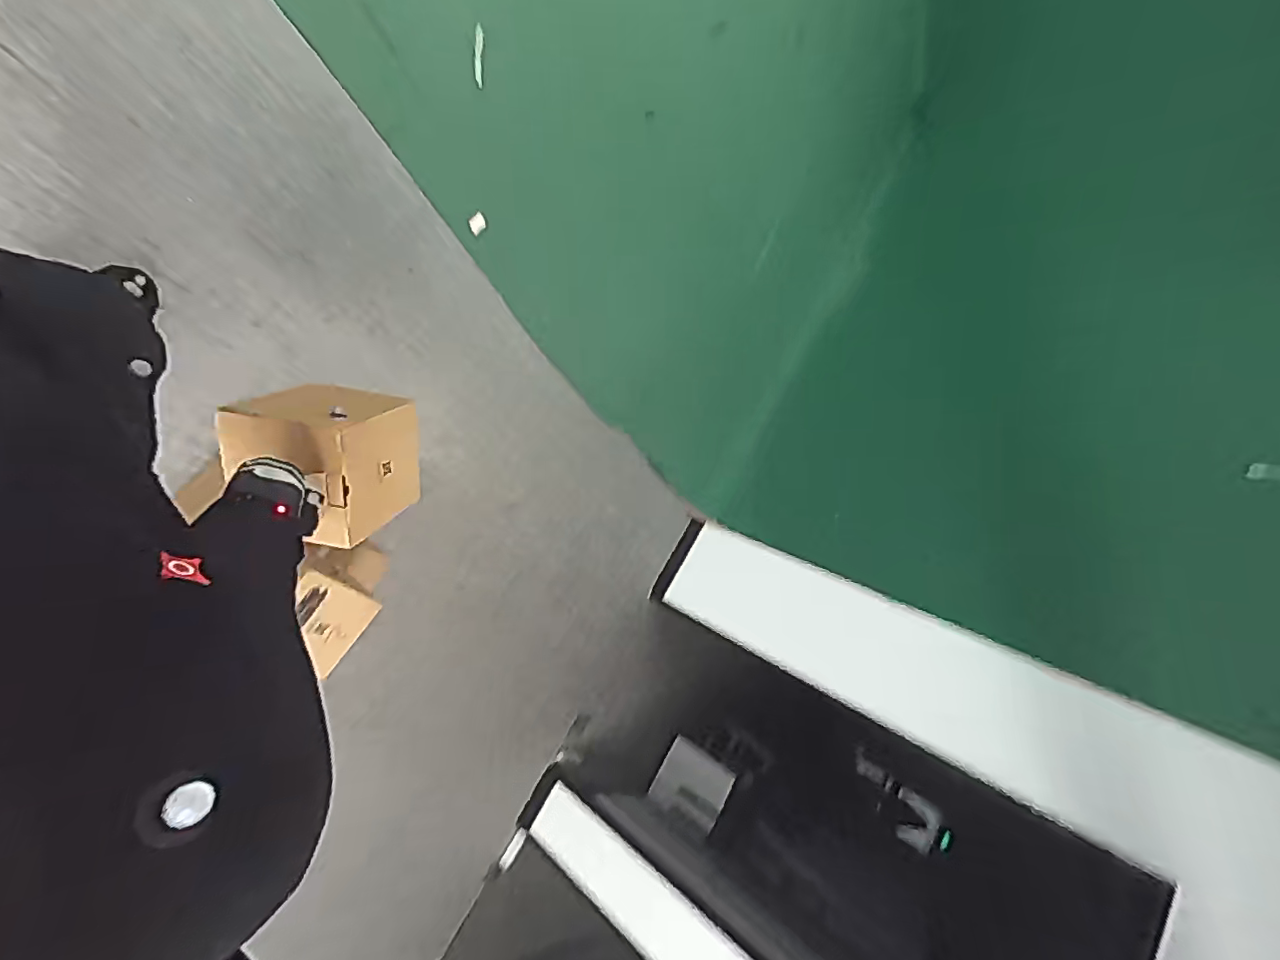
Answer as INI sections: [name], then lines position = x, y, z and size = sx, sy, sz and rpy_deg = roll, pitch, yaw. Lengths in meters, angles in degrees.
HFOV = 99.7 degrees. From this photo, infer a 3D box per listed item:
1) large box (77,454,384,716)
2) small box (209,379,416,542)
[large box]
position = -0.851, 0.218, 1.150
size = 0.408, 0.320, 0.320
rpy_deg = -57, 143, -12
[small box]
position = -0.438, -0.037, 0.750
size = 0.179, 0.176, 0.168
rpy_deg = -69, 165, -66
